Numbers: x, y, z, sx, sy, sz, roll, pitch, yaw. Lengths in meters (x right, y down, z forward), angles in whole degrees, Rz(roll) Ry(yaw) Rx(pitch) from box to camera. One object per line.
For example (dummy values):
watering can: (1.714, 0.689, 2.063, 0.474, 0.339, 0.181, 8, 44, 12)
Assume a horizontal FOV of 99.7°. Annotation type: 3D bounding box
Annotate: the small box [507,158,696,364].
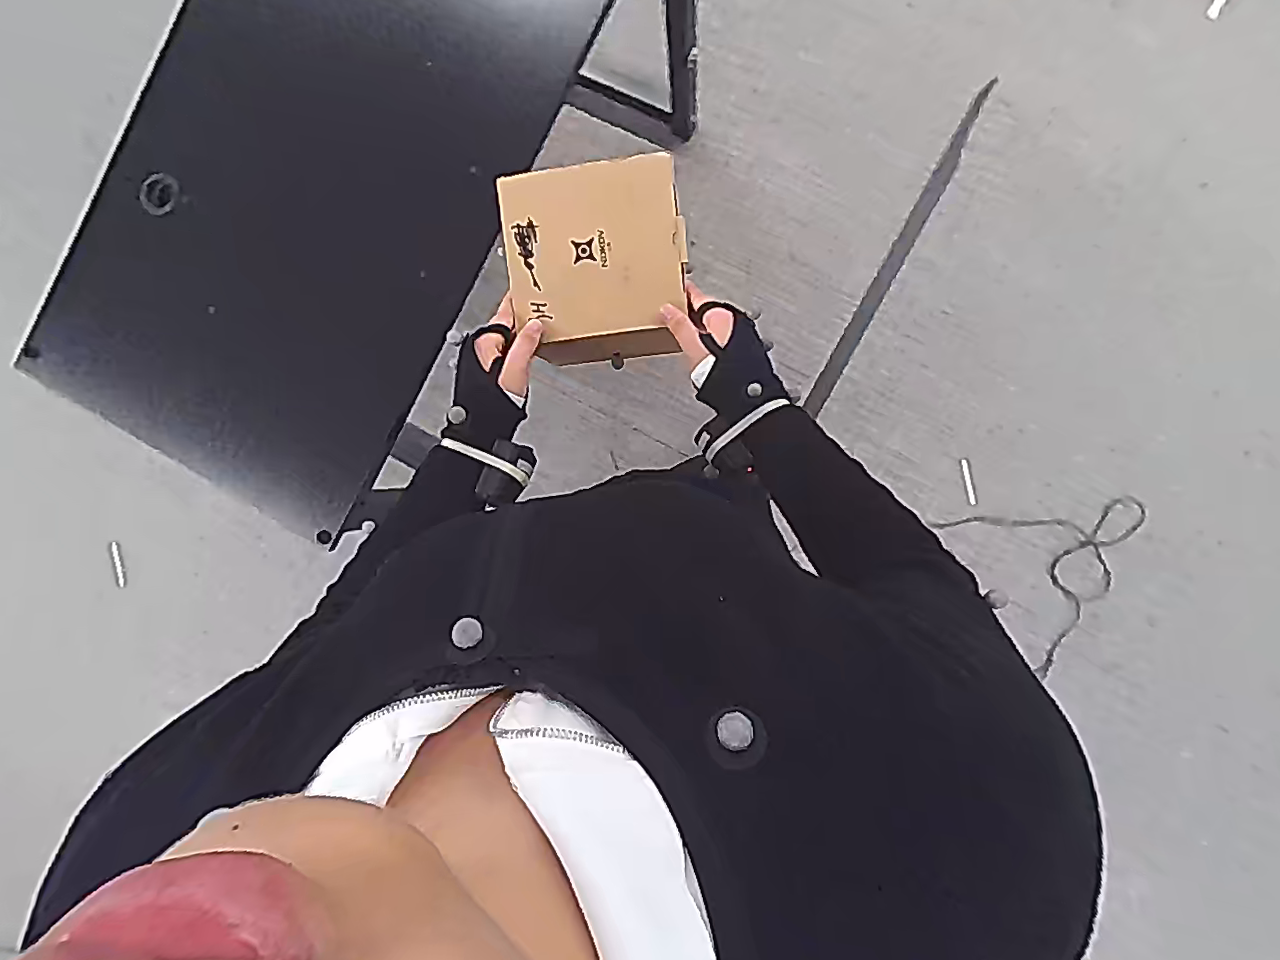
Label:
small box: (-0.035, -0.230, 0.611, 0.179, 0.176, 0.168, -5, 94, 3)
